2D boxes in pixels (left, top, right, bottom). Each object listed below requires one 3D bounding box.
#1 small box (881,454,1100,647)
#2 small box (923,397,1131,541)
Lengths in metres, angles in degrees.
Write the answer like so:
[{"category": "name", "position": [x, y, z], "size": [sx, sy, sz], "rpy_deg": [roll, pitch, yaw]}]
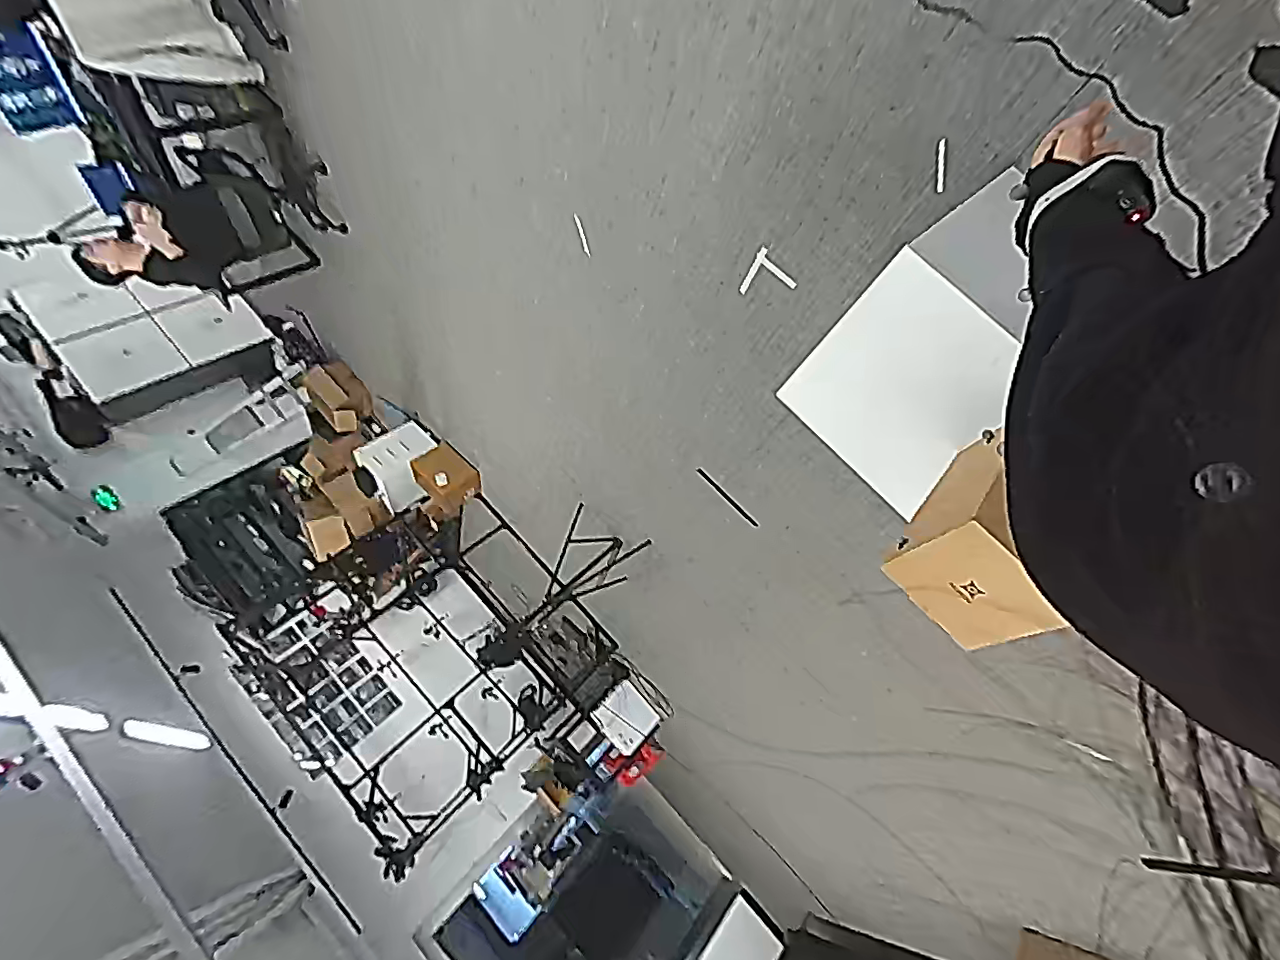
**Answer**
[{"category": "small box", "position": [0.478, 0.094, 0.739], "size": [0.168, 0.176, 0.179], "rpy_deg": [46, 149, 9]}, {"category": "small box", "position": [0.587, 0.008, 0.825], "size": [0.168, 0.176, 0.179], "rpy_deg": [46, 149, 8]}]
